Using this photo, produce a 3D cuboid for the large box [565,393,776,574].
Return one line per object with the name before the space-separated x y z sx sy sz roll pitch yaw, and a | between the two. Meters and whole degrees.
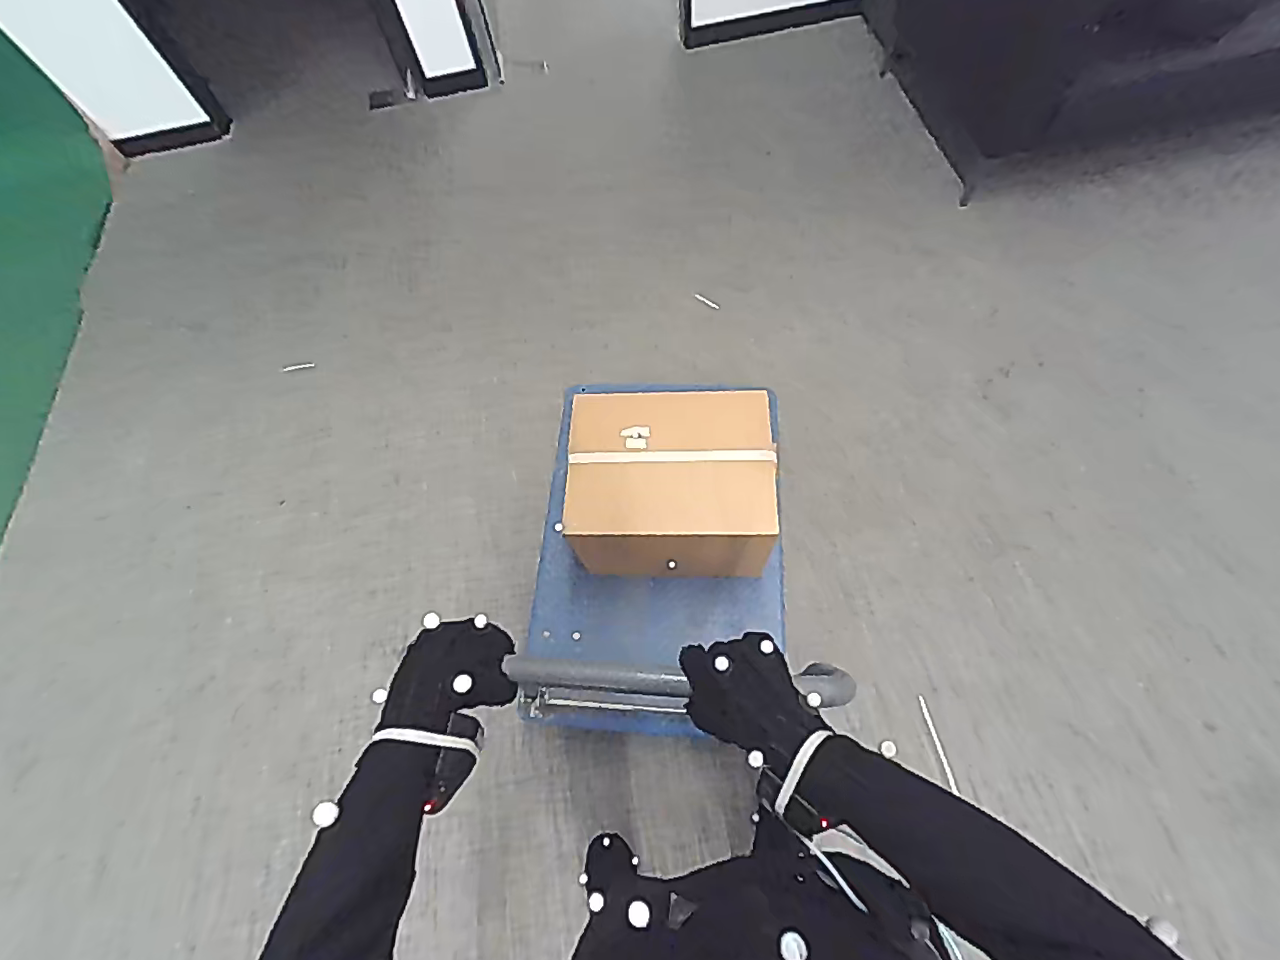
large box | 0.071 0.026 1.211 0.408 0.320 0.320 -1 65 6
